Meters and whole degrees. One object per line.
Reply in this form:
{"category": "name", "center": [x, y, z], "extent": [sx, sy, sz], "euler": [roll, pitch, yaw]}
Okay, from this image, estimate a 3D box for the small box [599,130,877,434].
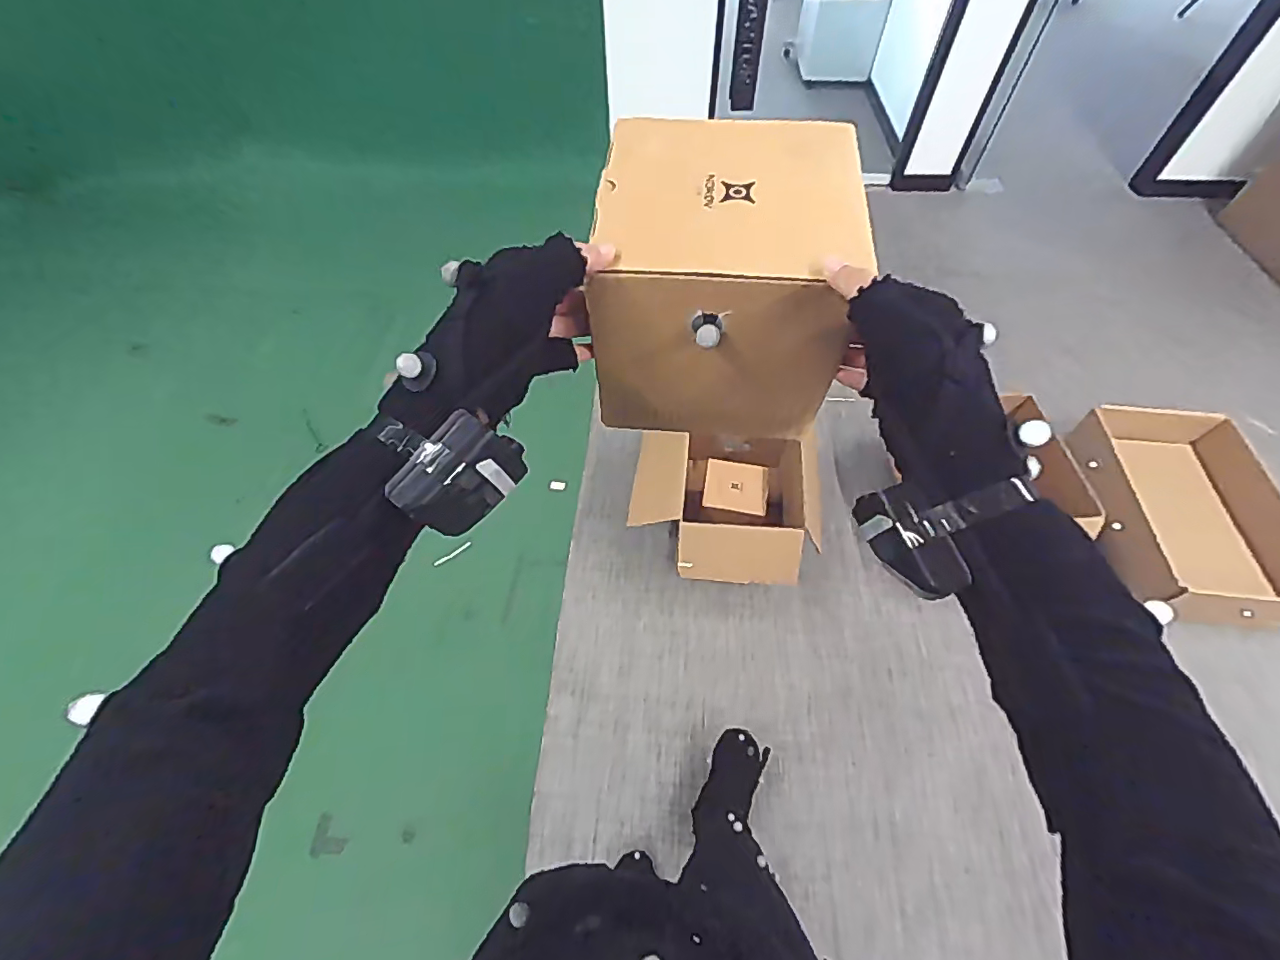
{"category": "small box", "center": [0.069, -0.151, 0.444], "extent": [0.179, 0.176, 0.168], "euler": [4, 61, 4]}
